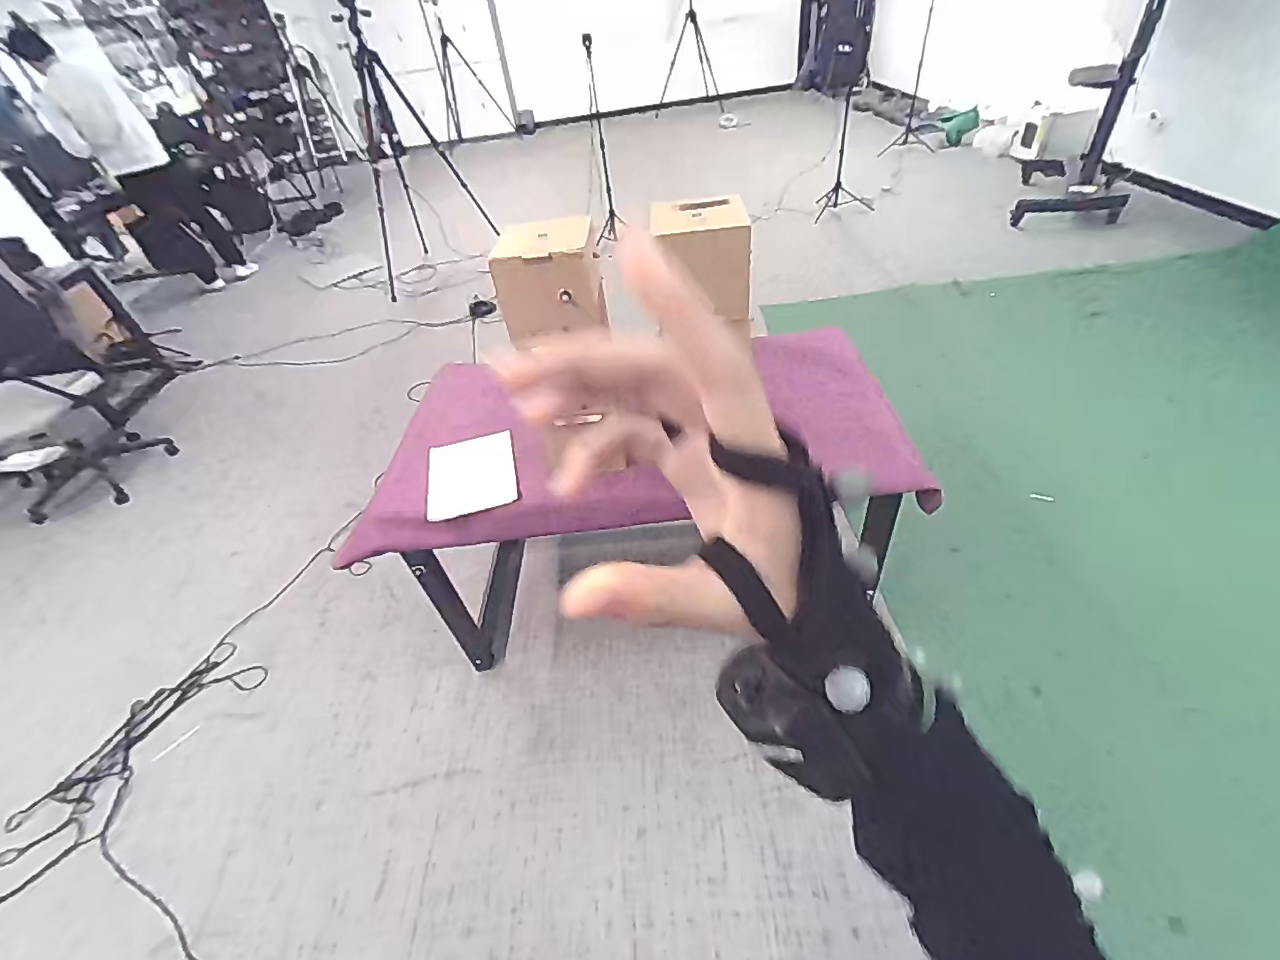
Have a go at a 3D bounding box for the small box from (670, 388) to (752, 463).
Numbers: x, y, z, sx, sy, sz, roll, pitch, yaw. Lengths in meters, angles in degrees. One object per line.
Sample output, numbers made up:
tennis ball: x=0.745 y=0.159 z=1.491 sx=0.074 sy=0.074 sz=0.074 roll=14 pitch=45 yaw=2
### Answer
small box: x=0.155 y=-0.160 z=1.209 sx=0.168 sy=0.176 sz=0.179 roll=-6 pitch=41 yaw=6

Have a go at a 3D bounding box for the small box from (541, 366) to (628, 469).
small box: x=-0.118 y=-0.137 z=1.234 sx=0.168 sy=0.176 sz=0.179 roll=-5 pitch=43 yaw=4

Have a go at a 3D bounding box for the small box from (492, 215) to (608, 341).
small box: x=-0.156 y=-0.370 z=1.005 sx=0.168 sy=0.176 sz=0.179 roll=-4 pitch=42 yaw=5

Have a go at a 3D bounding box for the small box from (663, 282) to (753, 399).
small box: x=0.134 y=-0.284 z=1.105 sx=0.168 sy=0.176 sz=0.179 roll=-5 pitch=42 yaw=4

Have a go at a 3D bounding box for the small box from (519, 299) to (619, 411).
small box: x=-0.137 y=-0.254 z=1.118 sx=0.168 sy=0.176 sz=0.179 roll=-5 pitch=41 yaw=5
